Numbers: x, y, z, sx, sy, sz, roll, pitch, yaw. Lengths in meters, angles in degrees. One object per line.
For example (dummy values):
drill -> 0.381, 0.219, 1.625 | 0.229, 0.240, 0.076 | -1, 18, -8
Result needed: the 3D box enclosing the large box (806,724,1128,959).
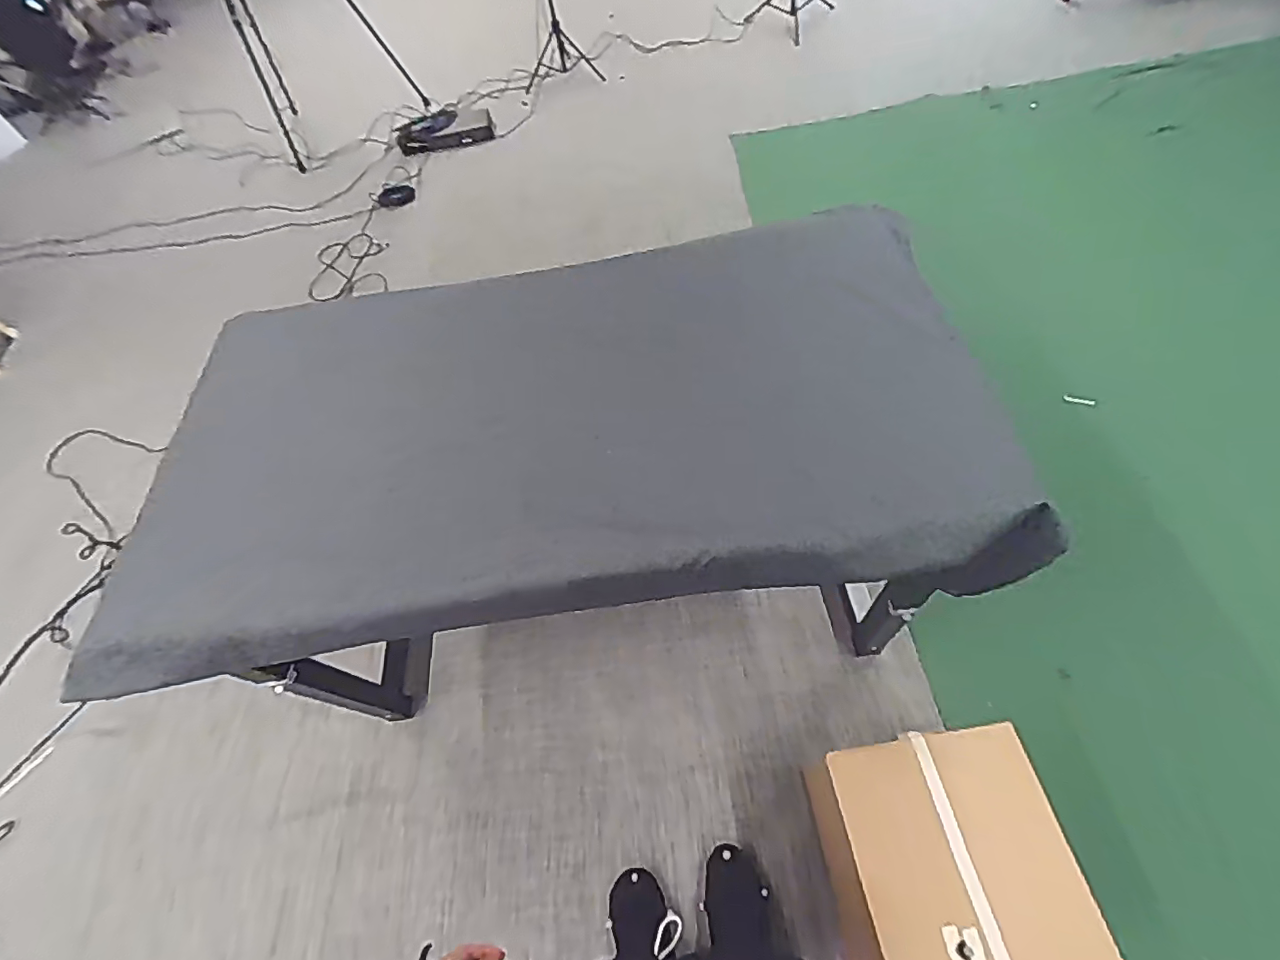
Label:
large box -> 0.509, 0.672, 0.908 | 0.320, 0.320, 0.408 | -11, 57, 2
